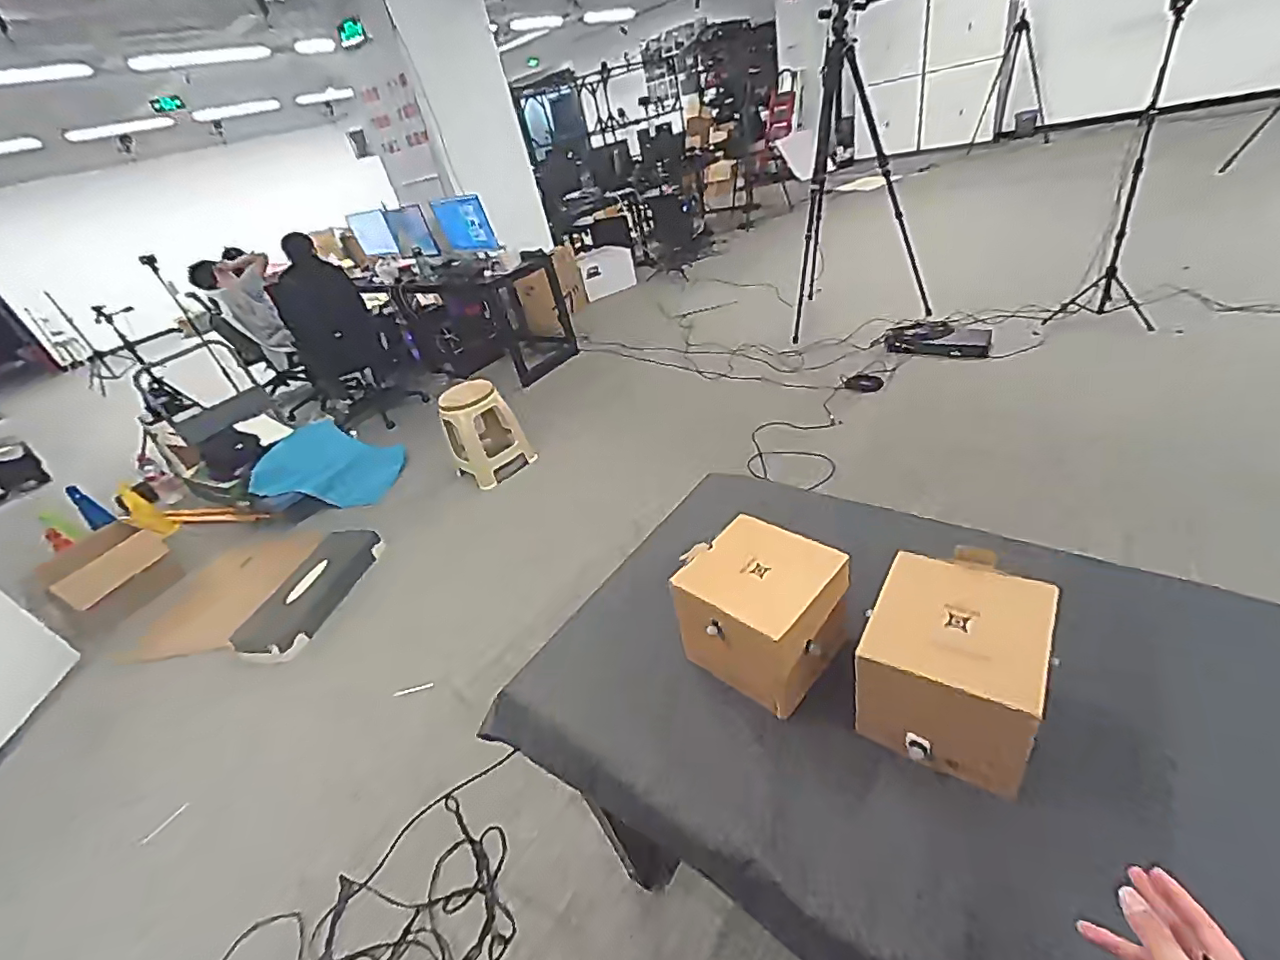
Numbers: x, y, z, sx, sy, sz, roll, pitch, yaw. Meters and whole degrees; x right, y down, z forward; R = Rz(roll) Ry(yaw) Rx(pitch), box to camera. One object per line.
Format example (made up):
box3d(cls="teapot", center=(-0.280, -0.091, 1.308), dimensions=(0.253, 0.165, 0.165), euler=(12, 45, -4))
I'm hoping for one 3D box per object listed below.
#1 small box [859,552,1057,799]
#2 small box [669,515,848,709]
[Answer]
box3d(cls="small box", center=(0.361, 0.218, 0.628), dimensions=(0.168, 0.176, 0.179), euler=(11, 41, 35))
box3d(cls="small box", center=(0.169, 0.183, 0.751), dimensions=(0.168, 0.176, 0.179), euler=(-37, 39, -30))
